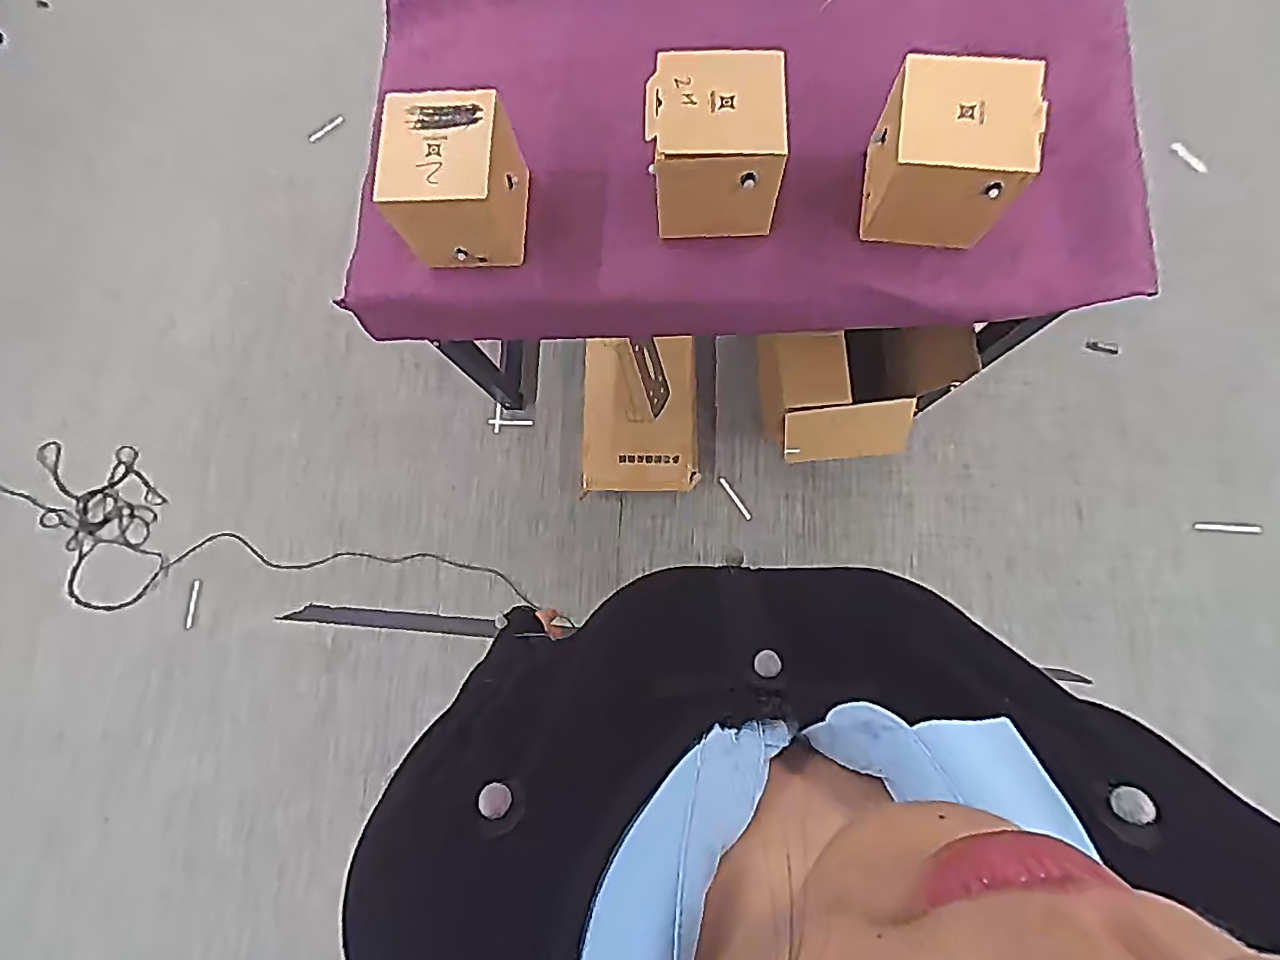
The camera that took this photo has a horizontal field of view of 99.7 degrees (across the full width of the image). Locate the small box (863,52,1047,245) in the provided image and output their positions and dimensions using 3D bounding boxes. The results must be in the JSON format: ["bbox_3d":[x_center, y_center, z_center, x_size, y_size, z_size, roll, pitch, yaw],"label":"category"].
[{"bbox_3d":[0.433,-0.459,0.769,0.179,0.176,0.168,7,81,6],"label":"small box"}]

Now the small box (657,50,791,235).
[{"bbox_3d":[0.117,-0.485,0.799,0.179,0.176,0.168,0,78,5],"label":"small box"}]
